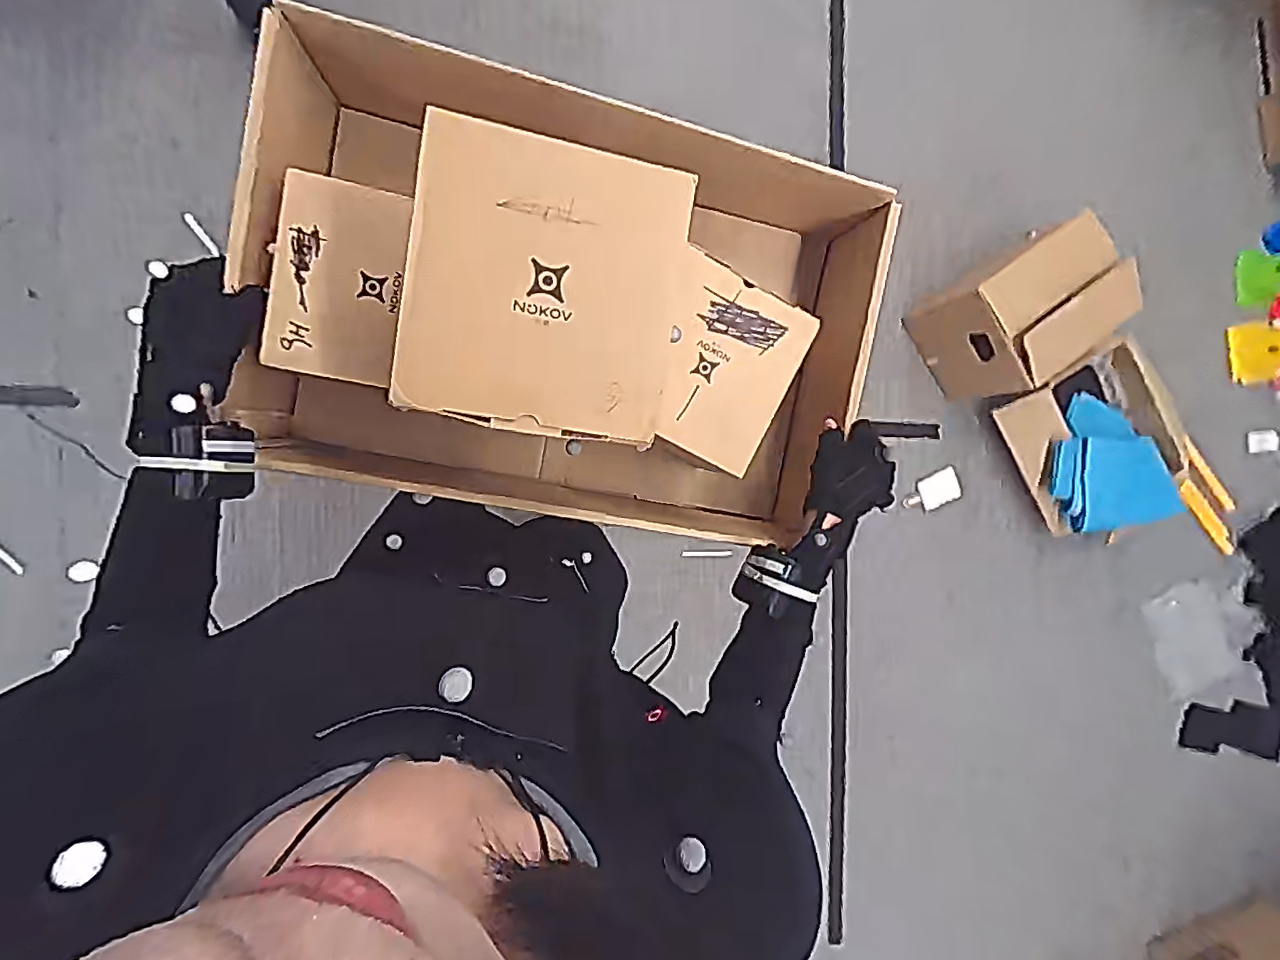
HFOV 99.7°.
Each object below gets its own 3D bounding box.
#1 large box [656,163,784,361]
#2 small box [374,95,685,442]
[{"bbox_3d":[0.160,-0.538,1.407,0.320,0.320,0.408,-2,92,-9],"label":"large box"},{"bbox_3d":[-0.077,-0.127,0.400,0.168,0.176,0.179,7,93,-11],"label":"small box"}]
